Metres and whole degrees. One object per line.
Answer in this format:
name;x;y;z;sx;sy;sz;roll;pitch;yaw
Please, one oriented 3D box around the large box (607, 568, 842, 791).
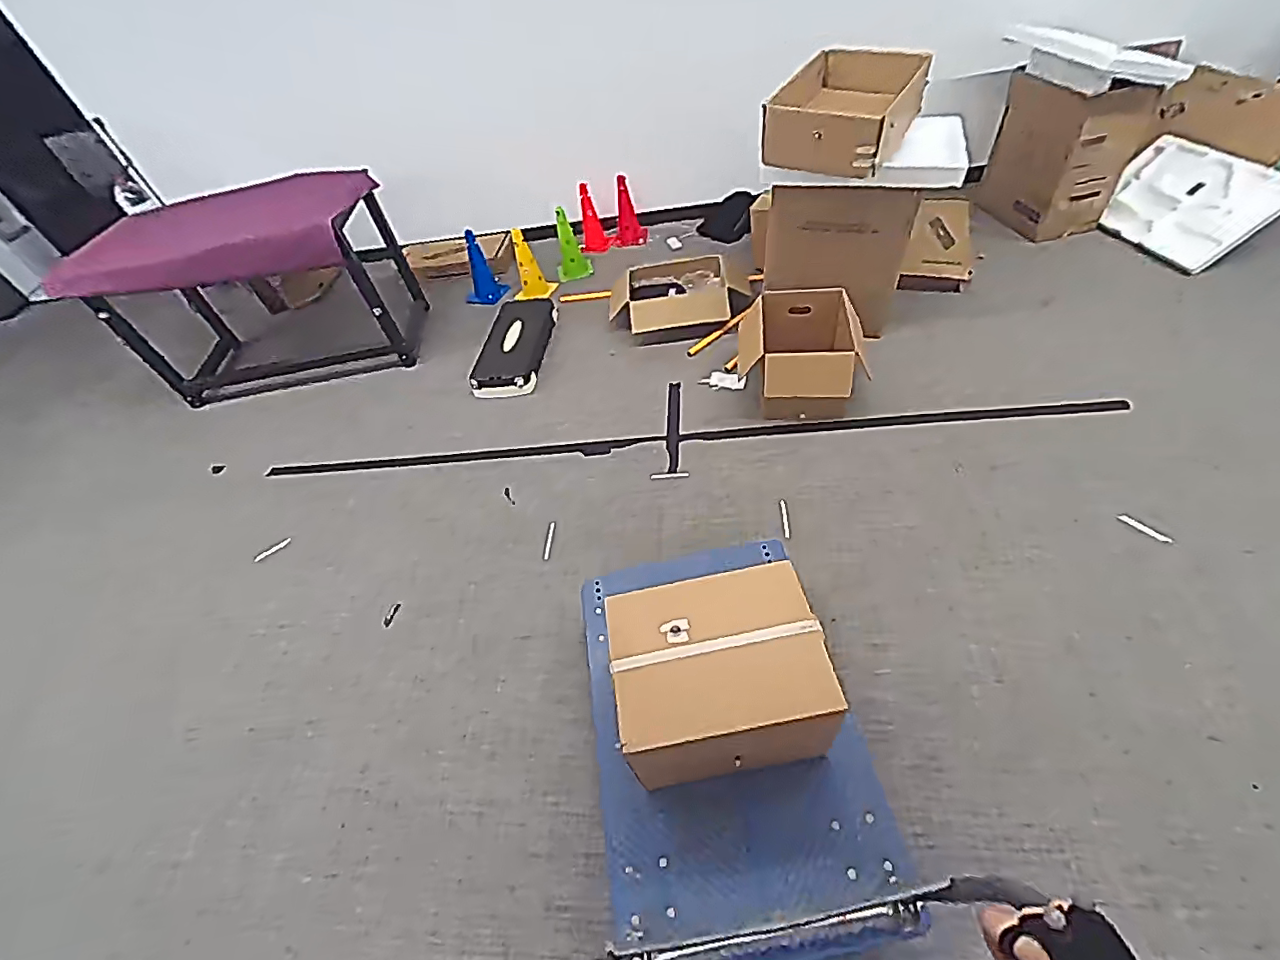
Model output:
large box;0.169;0.437;1.169;0.408;0.320;0.320;-13;48;1
